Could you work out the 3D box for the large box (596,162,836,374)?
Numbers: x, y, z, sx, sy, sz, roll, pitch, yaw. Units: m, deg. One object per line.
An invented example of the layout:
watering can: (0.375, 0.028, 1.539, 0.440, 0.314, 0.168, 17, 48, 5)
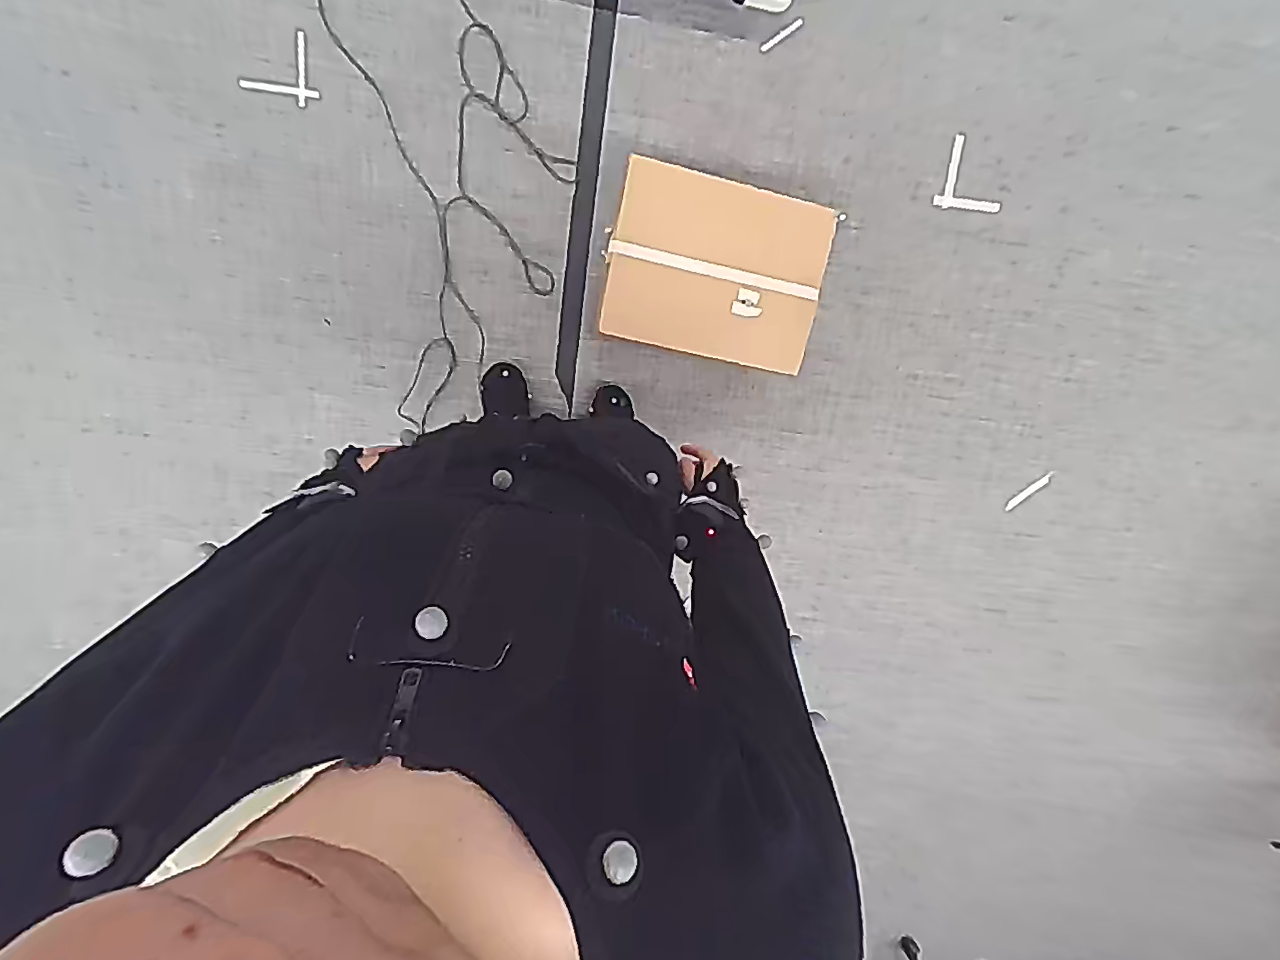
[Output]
large box: (0.129, -0.418, 1.154, 0.408, 0.320, 0.320, 10, 102, -9)
